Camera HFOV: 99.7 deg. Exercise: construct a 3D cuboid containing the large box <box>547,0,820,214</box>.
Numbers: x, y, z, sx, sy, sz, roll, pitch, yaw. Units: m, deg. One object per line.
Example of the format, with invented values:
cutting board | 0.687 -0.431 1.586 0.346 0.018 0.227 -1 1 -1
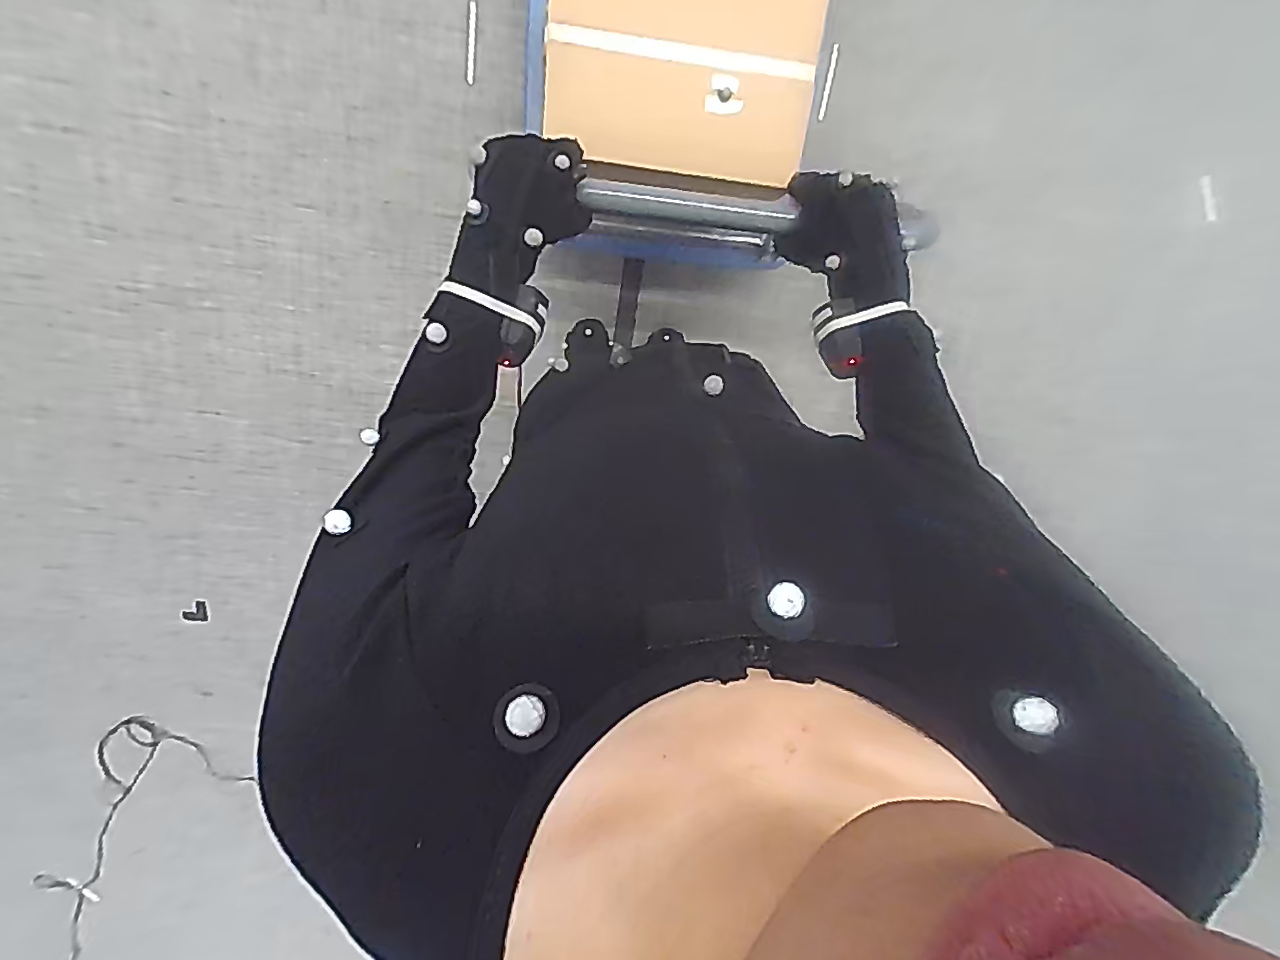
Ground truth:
large box | 0.051 -0.686 0.959 0.408 0.320 0.320 5 108 -6
